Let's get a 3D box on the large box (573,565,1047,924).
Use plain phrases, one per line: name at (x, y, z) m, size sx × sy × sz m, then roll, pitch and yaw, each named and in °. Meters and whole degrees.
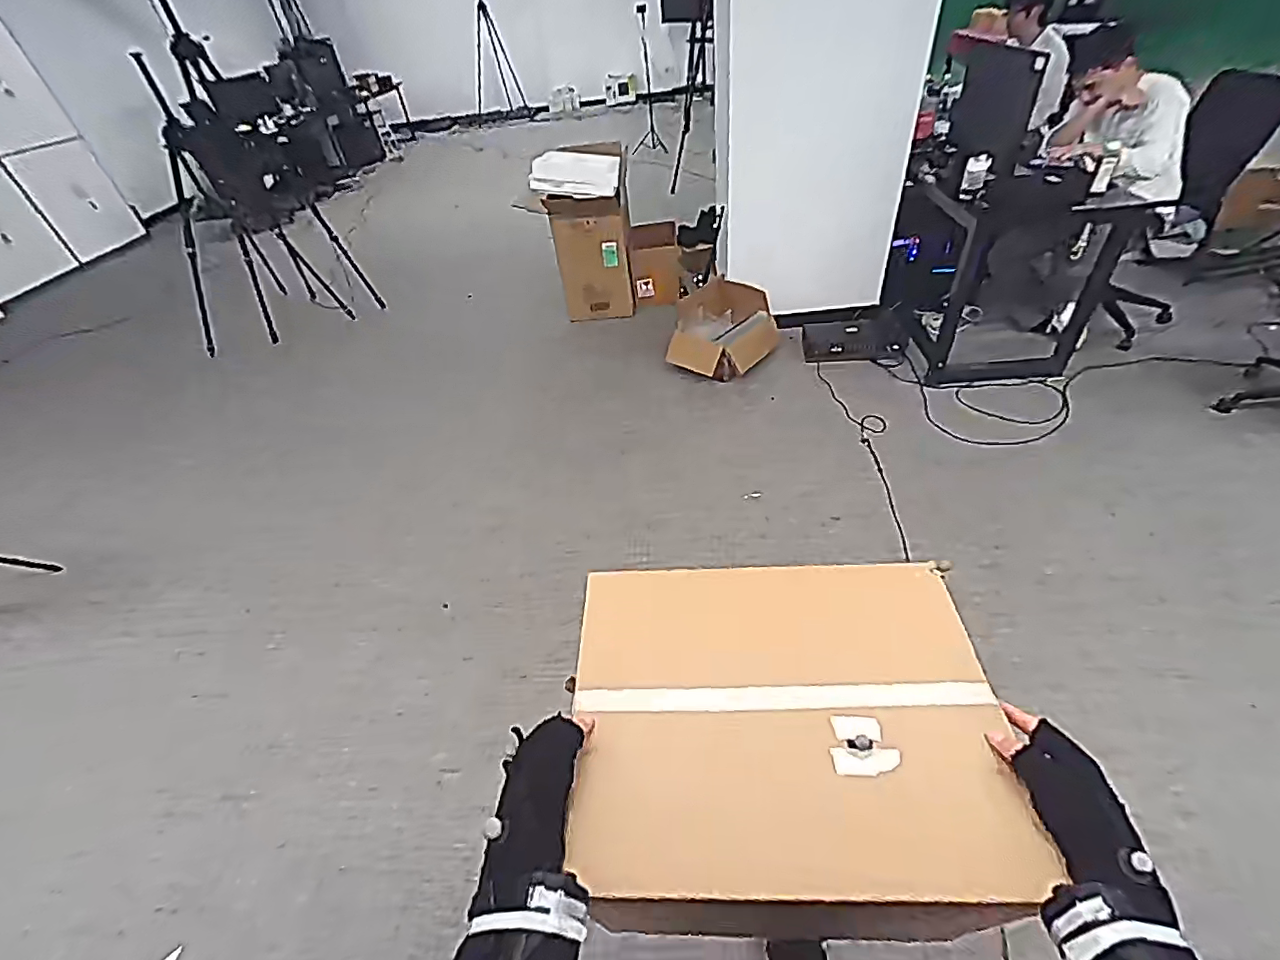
large box at (0.148, 0.325, 0.660) m, size 0.408 × 0.320 × 0.320 m, roll -2°, pitch 46°, yaw 3°
